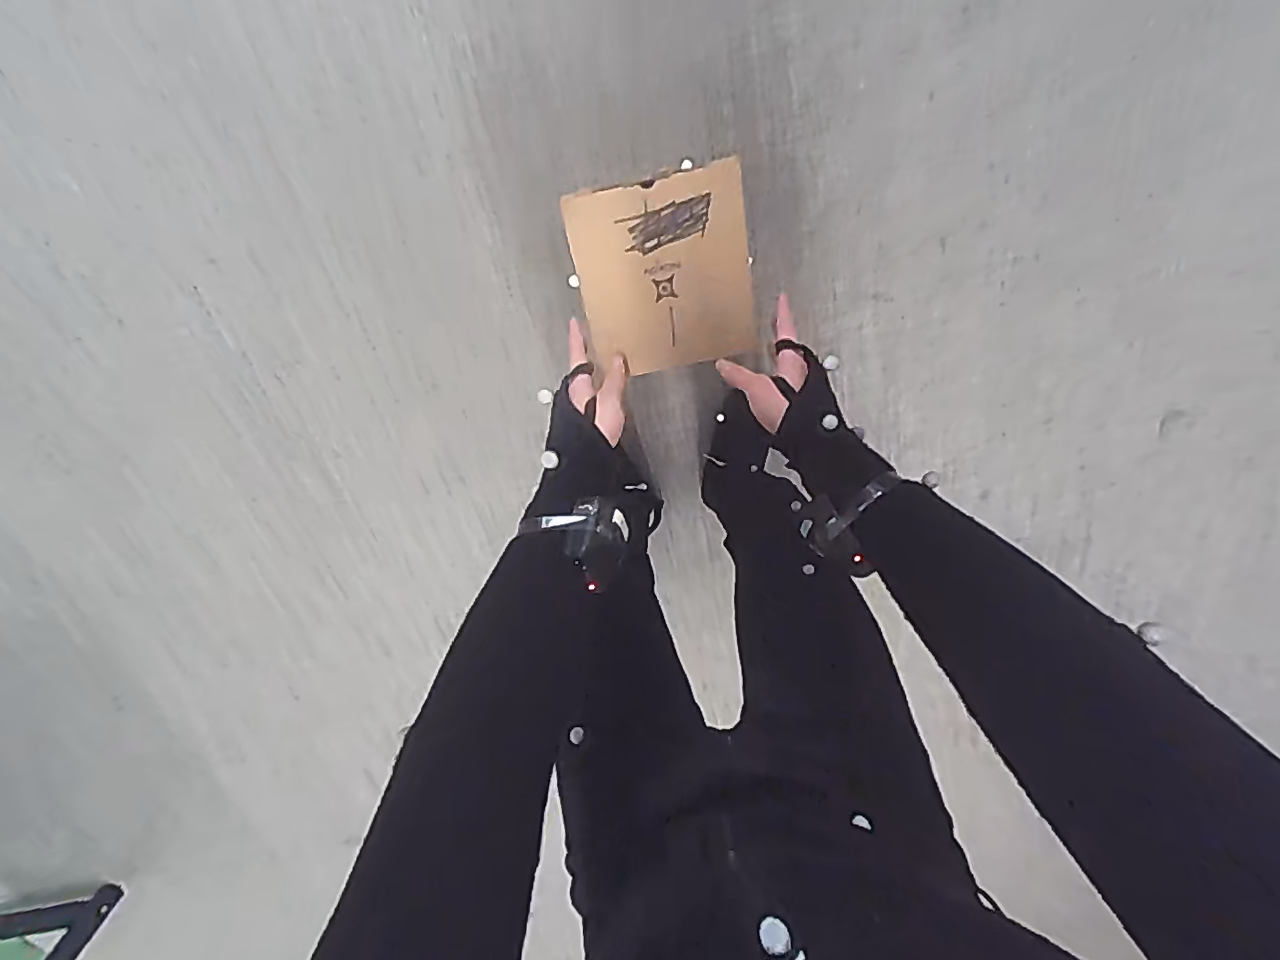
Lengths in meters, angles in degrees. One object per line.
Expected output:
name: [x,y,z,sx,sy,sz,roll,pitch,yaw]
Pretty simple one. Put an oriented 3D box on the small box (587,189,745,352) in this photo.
small box: [0.035,-0.287,0.745,0.179,0.176,0.168,-12,114,3]
